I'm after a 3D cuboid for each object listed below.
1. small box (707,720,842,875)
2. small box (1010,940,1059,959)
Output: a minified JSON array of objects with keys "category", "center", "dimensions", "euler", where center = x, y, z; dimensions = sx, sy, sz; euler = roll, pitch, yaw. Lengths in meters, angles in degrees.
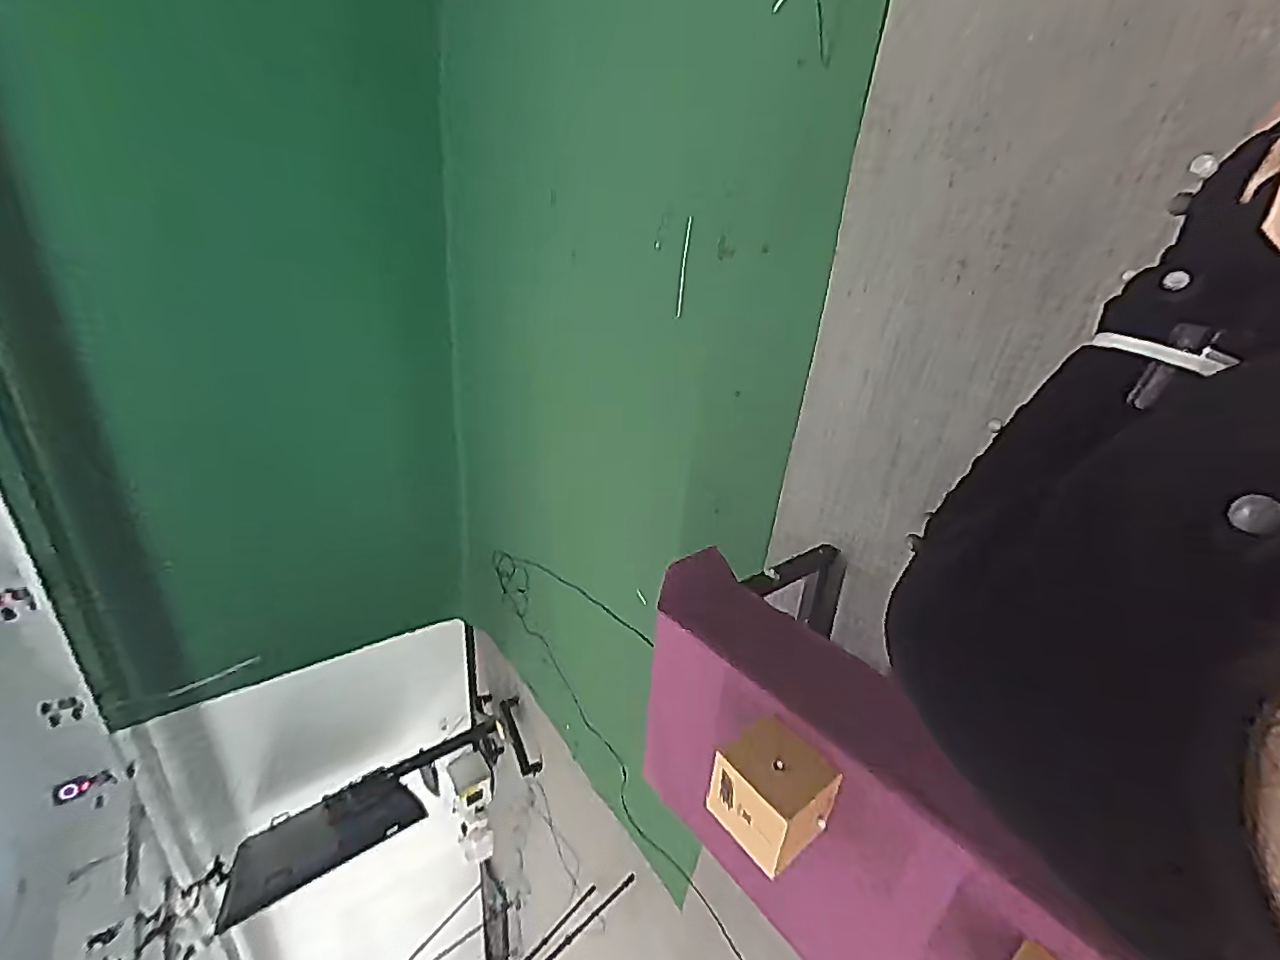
[{"category":"small box","center":[0.261,0.607,1.064],"dimensions":[0.179,0.176,0.168],"euler":[31,125,44]},{"category":"small box","center":[0.557,0.789,0.724],"dimensions":[0.179,0.176,0.168],"euler":[32,126,44]}]
